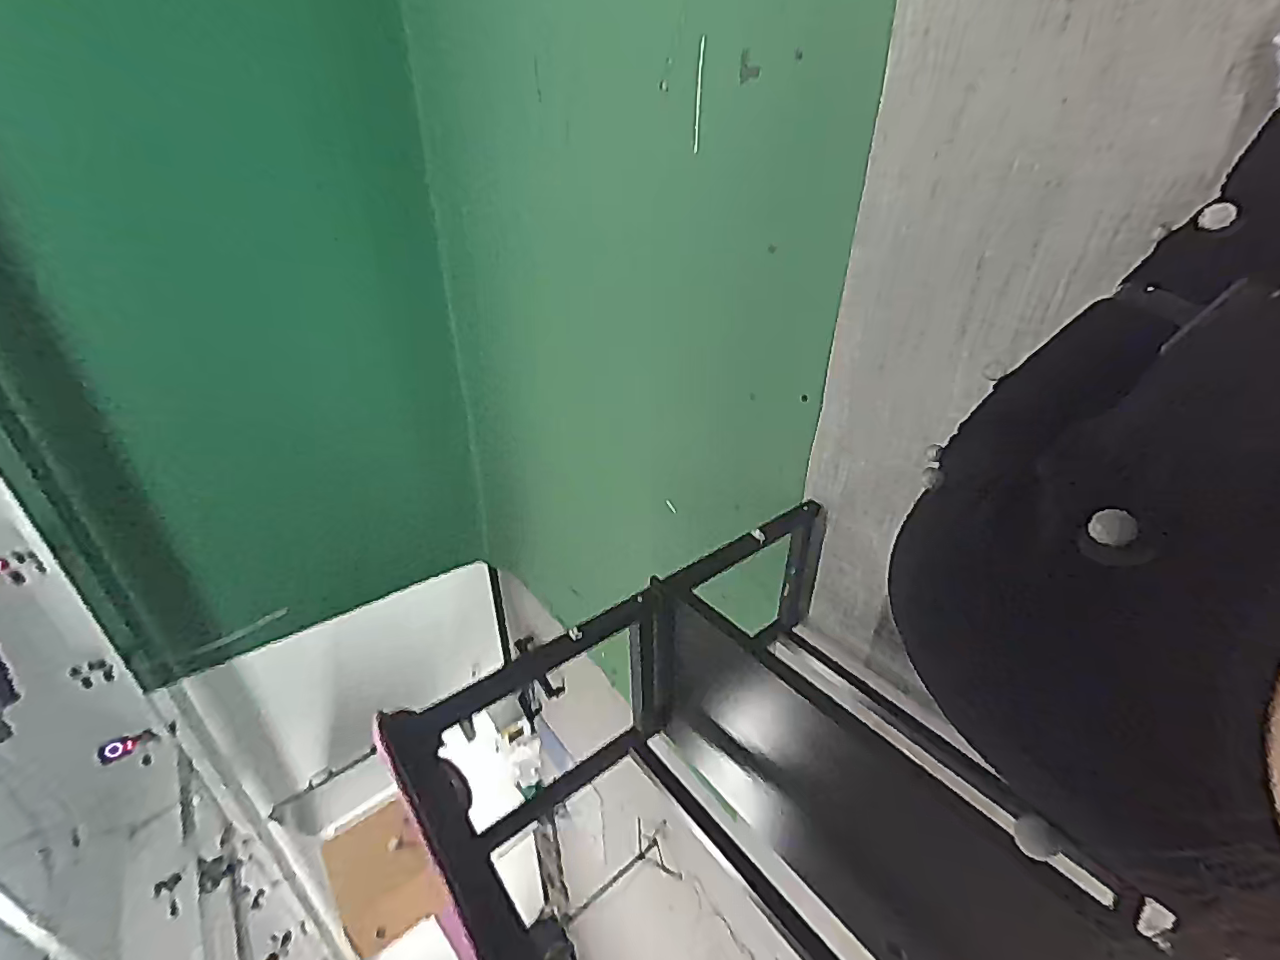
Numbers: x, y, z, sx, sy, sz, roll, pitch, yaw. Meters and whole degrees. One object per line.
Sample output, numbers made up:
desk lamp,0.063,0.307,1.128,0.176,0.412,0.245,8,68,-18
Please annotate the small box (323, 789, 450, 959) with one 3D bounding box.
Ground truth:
small box,-0.480,0.750,1.042,0.168,0.176,0.179,36,134,39
